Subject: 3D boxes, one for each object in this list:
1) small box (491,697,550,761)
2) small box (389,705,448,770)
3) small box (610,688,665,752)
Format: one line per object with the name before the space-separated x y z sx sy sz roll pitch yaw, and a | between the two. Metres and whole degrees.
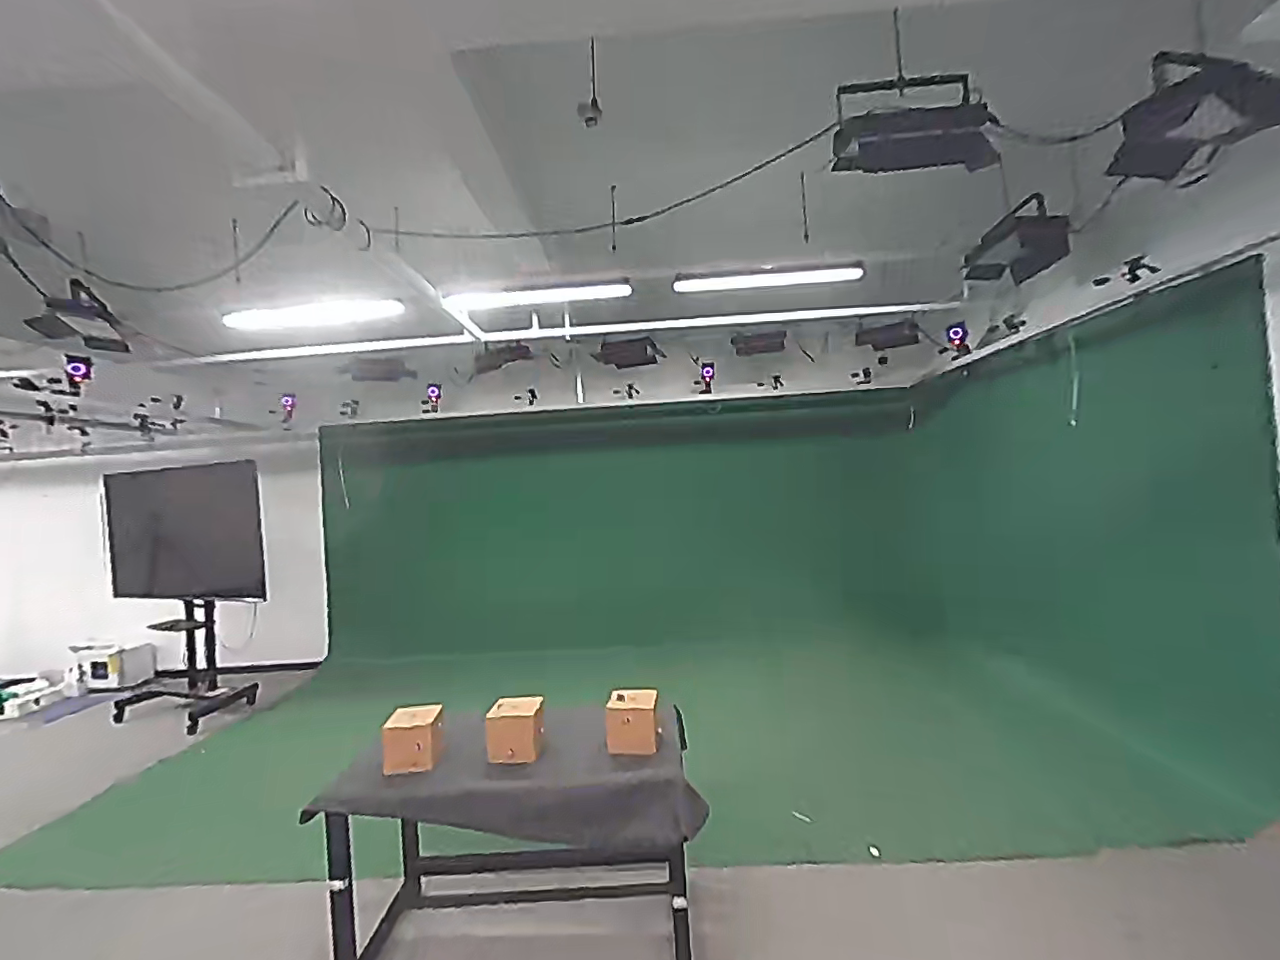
small box | -0.438 0.922 2.008 0.179 0.176 0.168 -3 -1 4
small box | -0.806 0.947 1.985 0.168 0.176 0.179 -2 -3 -7
small box | -0.007 0.891 2.011 0.179 0.176 0.168 -3 0 8
